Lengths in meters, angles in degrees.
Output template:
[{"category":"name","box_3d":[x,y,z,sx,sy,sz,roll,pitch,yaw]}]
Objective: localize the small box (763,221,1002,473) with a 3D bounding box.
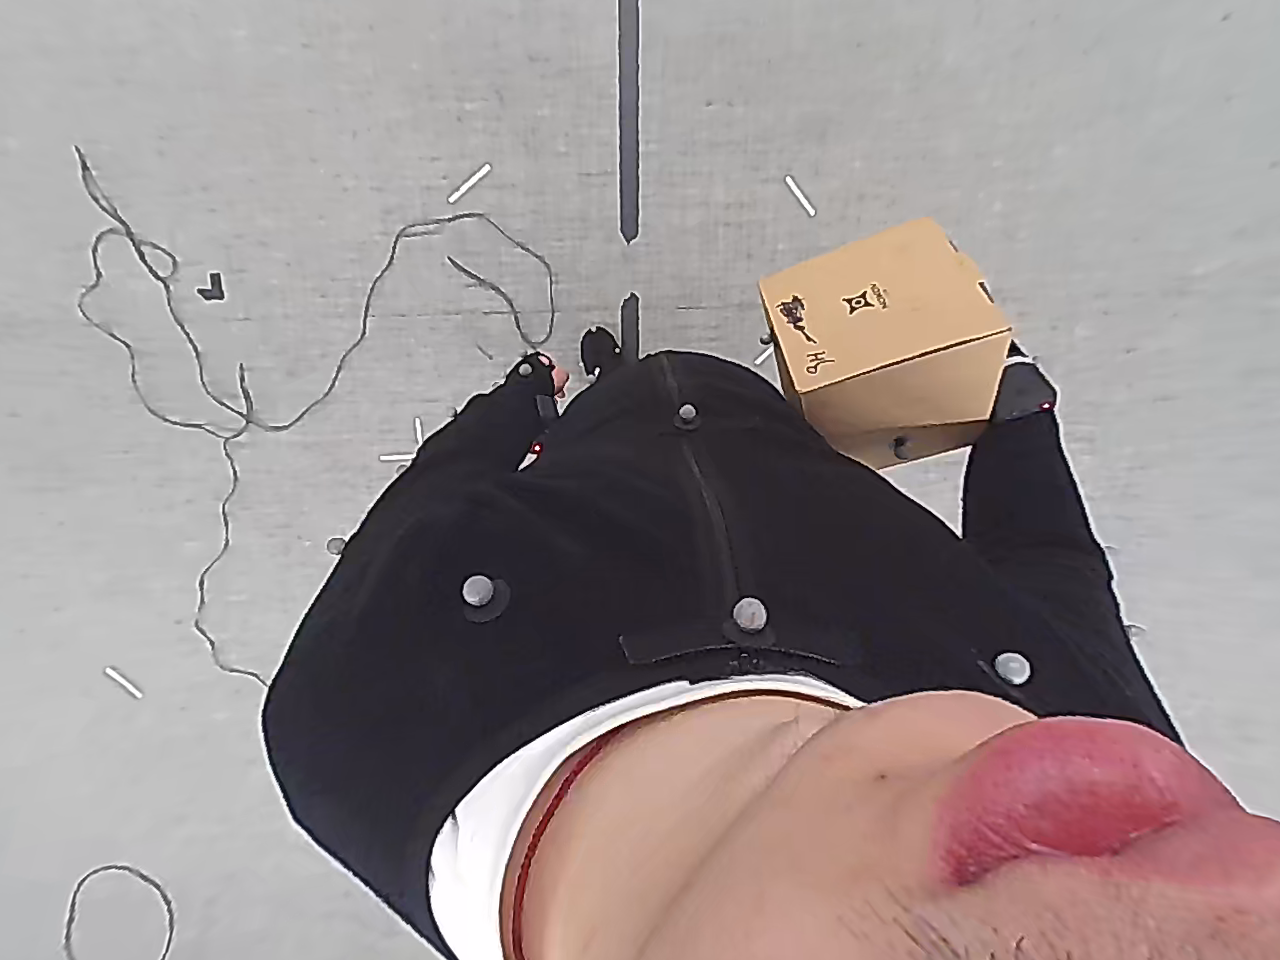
[{"category":"small box","box_3d":[0.245,-0.132,0.582,0.179,0.168,0.176,-16,144,13]}]
